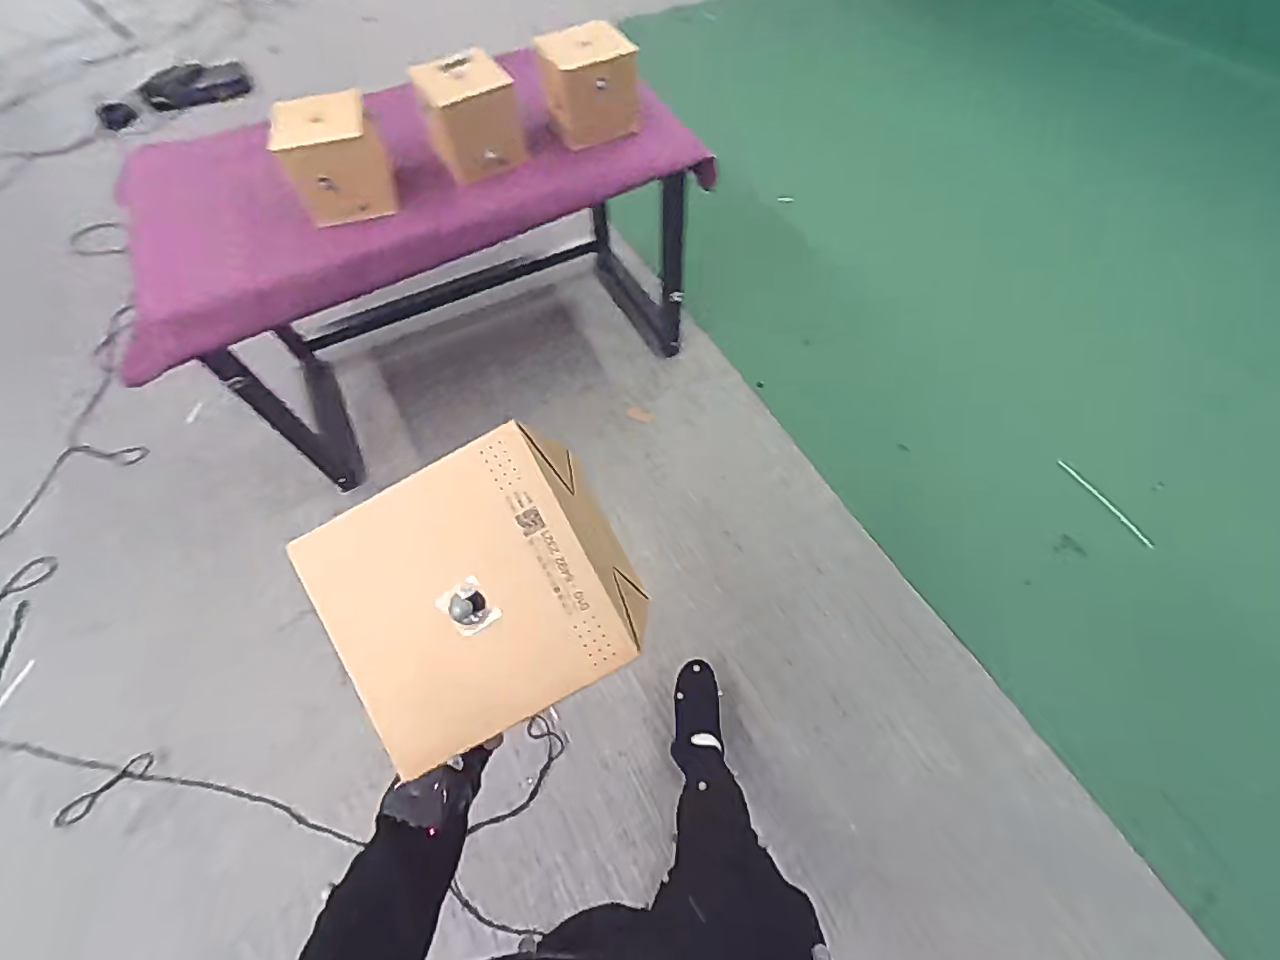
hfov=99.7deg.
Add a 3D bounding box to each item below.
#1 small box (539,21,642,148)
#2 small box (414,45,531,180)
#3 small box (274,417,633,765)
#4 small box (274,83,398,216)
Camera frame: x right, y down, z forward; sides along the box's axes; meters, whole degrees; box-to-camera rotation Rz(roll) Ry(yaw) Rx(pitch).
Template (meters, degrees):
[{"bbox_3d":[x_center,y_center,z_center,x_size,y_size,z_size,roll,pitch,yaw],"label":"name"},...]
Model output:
[{"bbox_3d":[-0.104,-0.883,1.216,0.179,0.176,0.168,-23,63,-11],"label":"small box"},{"bbox_3d":[-0.356,-0.790,1.170,0.168,0.176,0.179,-28,65,-13],"label":"small box"},{"bbox_3d":[-0.114,0.066,0.412,0.176,0.179,0.168,-28,88,0],"label":"small box"},{"bbox_3d":[-0.612,-0.667,1.108,0.168,0.176,0.179,-13,61,-6],"label":"small box"}]
